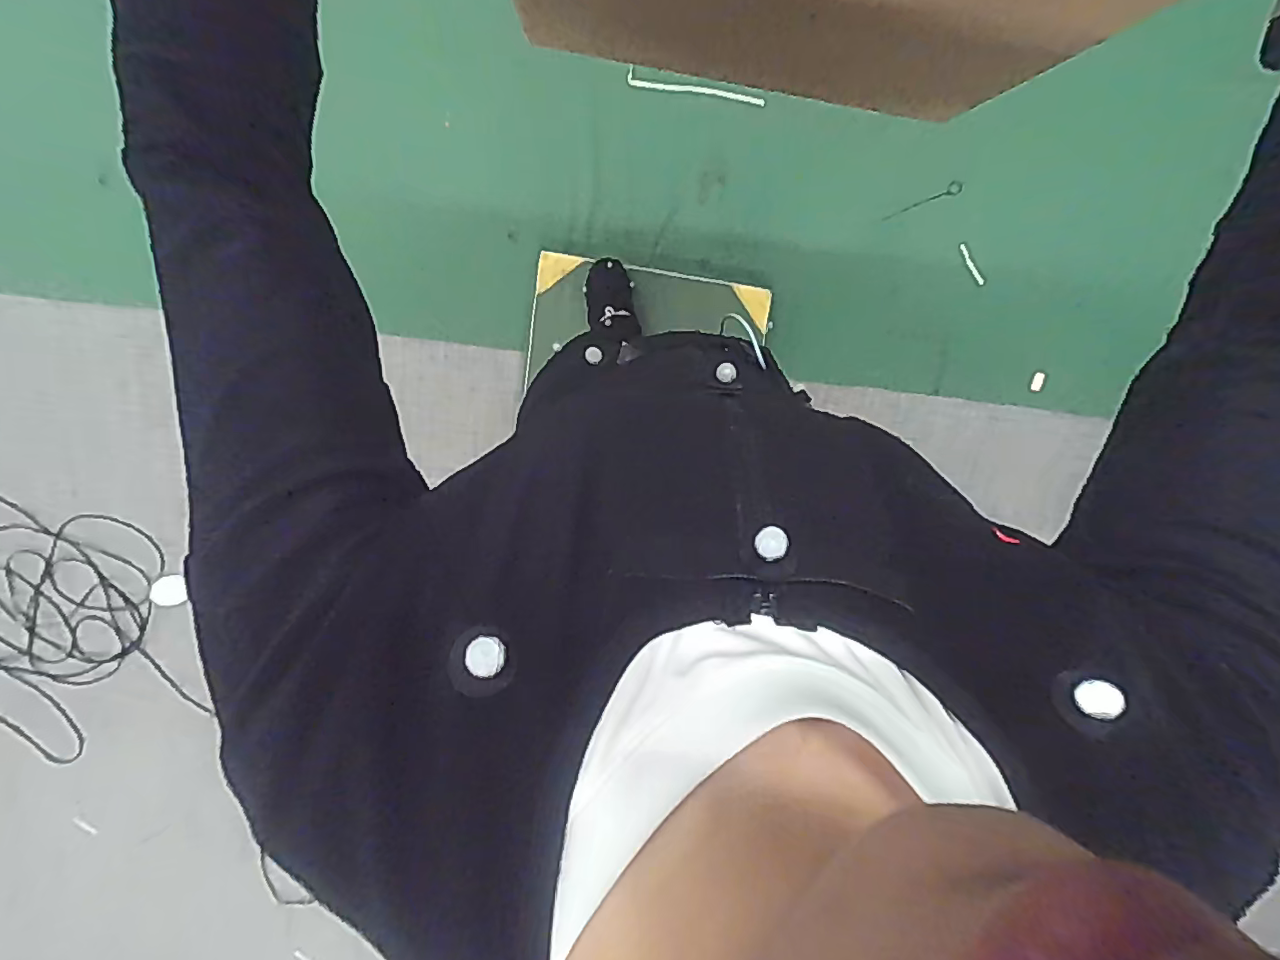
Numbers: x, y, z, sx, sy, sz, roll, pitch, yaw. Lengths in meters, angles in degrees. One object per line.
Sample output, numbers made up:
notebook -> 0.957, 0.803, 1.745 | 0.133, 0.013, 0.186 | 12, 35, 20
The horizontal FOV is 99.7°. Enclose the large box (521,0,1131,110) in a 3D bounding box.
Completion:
large box -> 0.121, -0.470, 0.321 | 0.408, 0.320, 0.320 | 7, 109, -5
